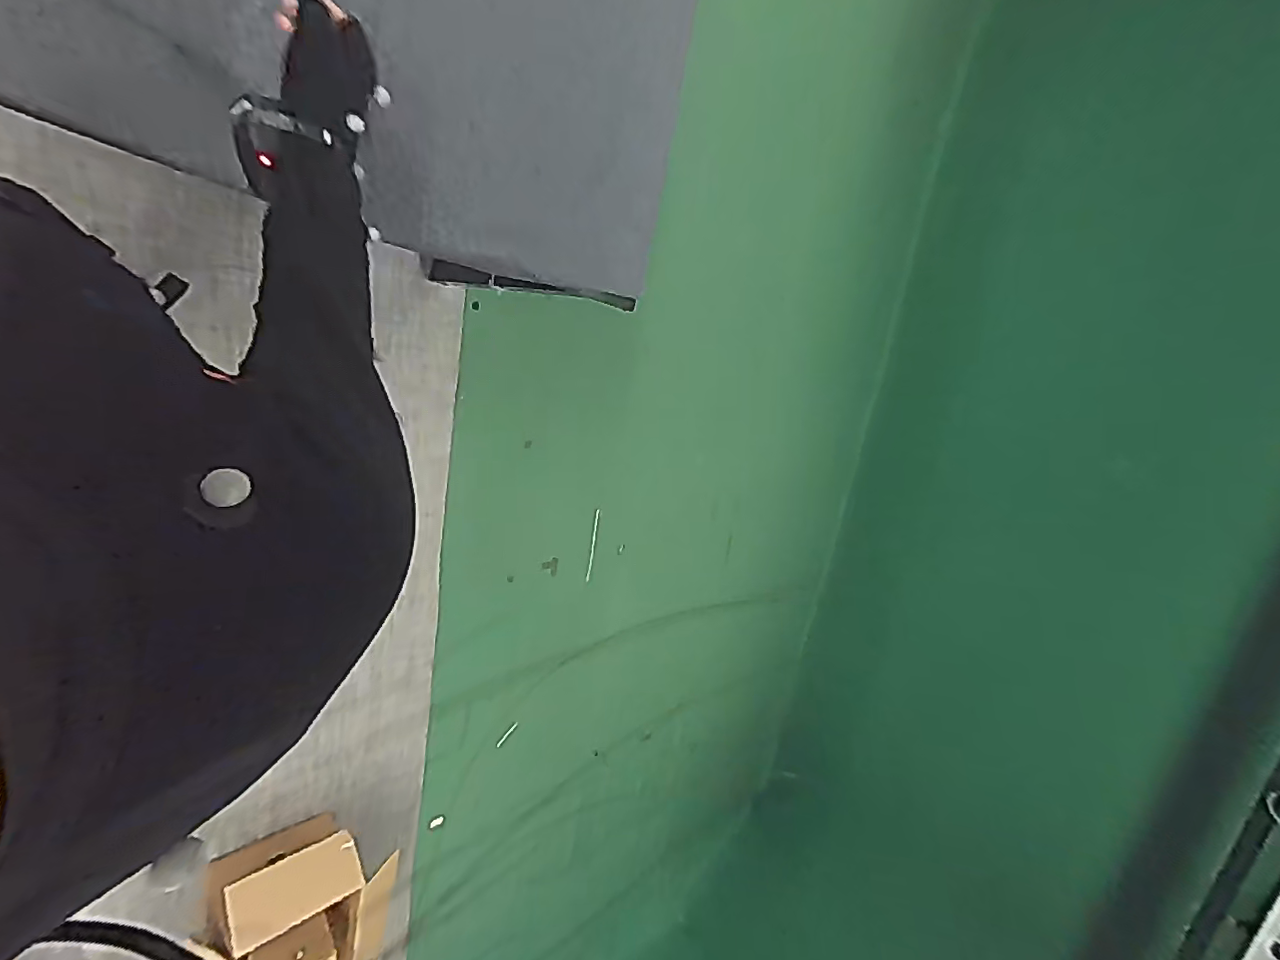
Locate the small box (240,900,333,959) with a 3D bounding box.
[{"bbox_3d":[-0.944,1.281,1.431,0.179,0.176,0.168,1,106,-48],"label":"small box"}]
